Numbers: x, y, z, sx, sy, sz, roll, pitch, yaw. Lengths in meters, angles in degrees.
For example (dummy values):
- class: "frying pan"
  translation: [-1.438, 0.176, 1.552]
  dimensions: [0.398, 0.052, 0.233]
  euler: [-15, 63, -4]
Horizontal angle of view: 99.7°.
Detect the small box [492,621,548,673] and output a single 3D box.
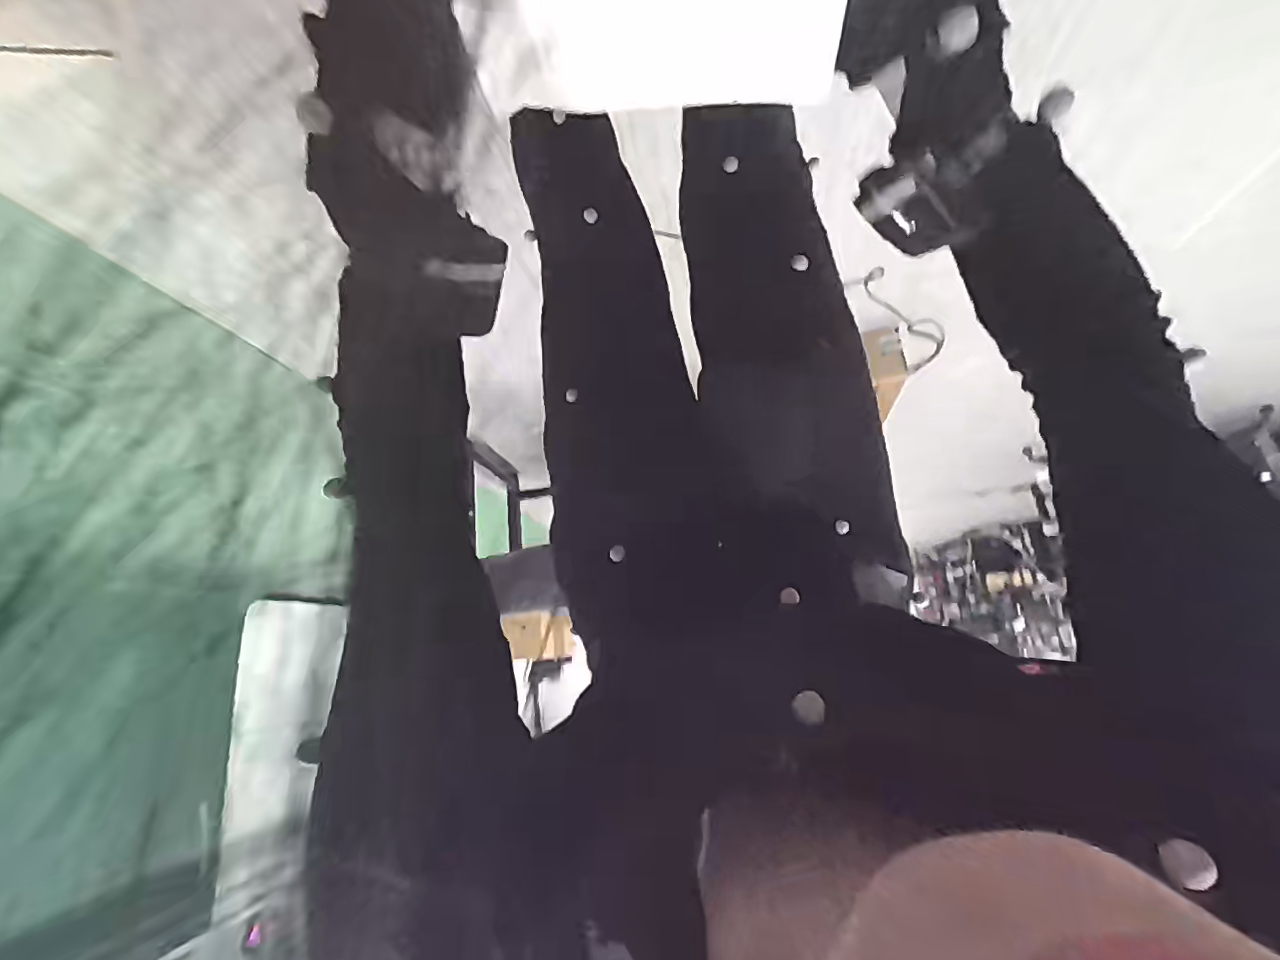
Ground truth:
- class: "small box"
  translation: [-0.453, 0.631, 2.052]
  dimensions: [0.168, 0.176, 0.179]
  euler: [-8, 162, 3]
